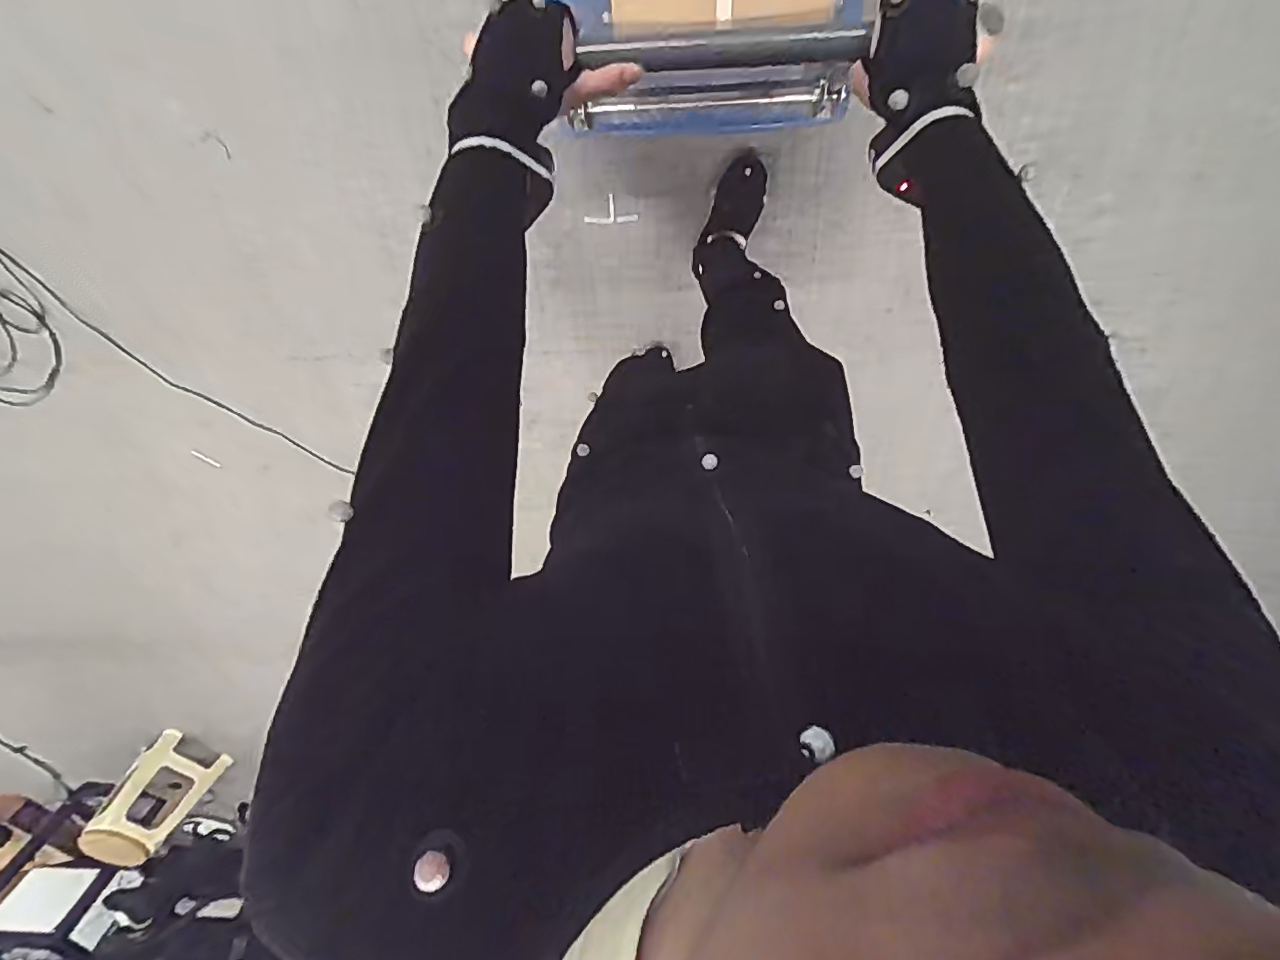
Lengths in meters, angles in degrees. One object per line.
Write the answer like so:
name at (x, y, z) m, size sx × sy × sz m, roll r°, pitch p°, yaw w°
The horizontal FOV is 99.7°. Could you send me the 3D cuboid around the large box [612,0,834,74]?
large box at (0.116, -0.883, 0.804) m, size 0.320 × 0.320 × 0.408 m, roll -1°, pitch 121°, yaw 4°
